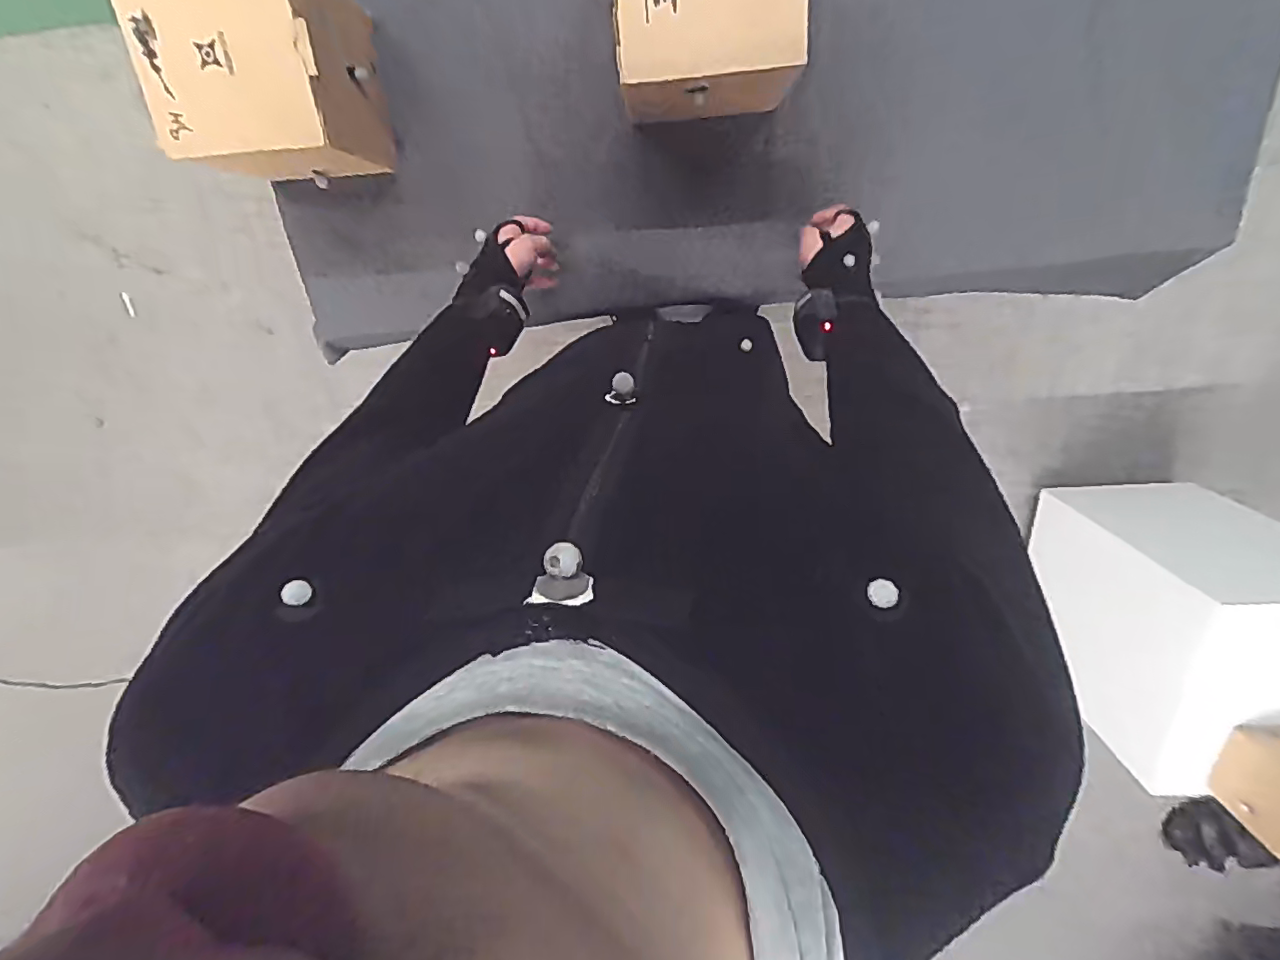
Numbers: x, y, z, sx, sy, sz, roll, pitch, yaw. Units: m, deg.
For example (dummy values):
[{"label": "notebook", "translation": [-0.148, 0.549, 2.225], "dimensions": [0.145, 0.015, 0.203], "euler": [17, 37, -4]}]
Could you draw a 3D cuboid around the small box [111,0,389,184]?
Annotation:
[{"label": "small box", "translation": [-0.401, -0.432, 0.593], "dimensions": [0.179, 0.176, 0.168], "euler": [-2, 112, 3]}]

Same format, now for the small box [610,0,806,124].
[{"label": "small box", "translation": [0.062, -0.479, 0.546], "dimensions": [0.179, 0.176, 0.168], "euler": [-4, 112, 4]}]

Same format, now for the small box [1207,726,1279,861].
[{"label": "small box", "translation": [1.302, 0.619, 1.072], "dimensions": [0.168, 0.176, 0.179], "euler": [-2, 111, 3]}]
